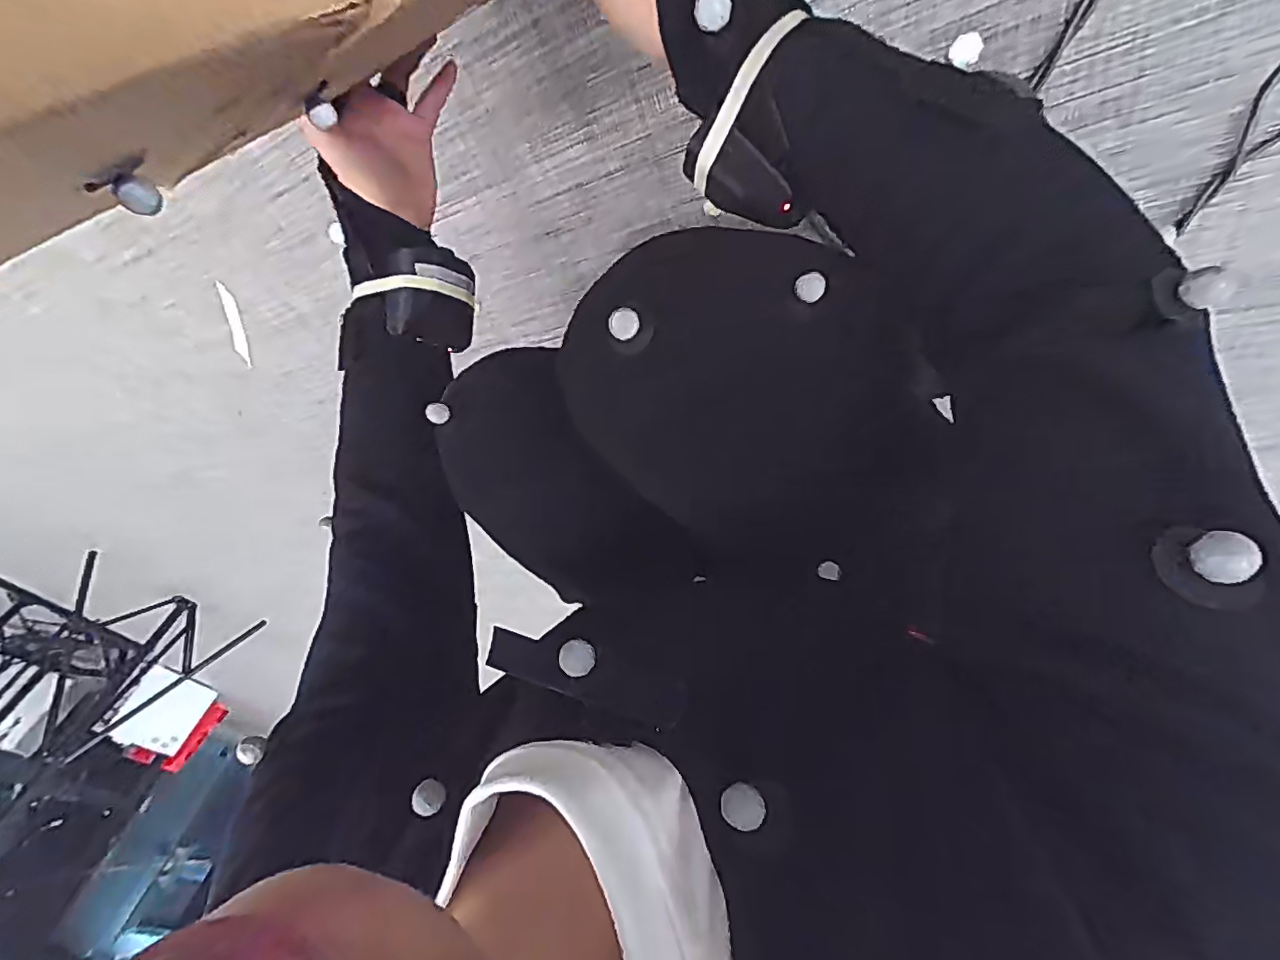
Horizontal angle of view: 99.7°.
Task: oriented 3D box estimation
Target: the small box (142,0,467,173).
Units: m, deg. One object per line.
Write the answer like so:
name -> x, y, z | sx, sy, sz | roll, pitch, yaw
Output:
small box -> -0.158, -0.257, 0.202 | 0.179, 0.176, 0.168 | -5, 137, 29

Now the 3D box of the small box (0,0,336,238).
small box -> -0.210, -0.140, 0.100 | 0.168, 0.176, 0.179 | -5, 137, 30
